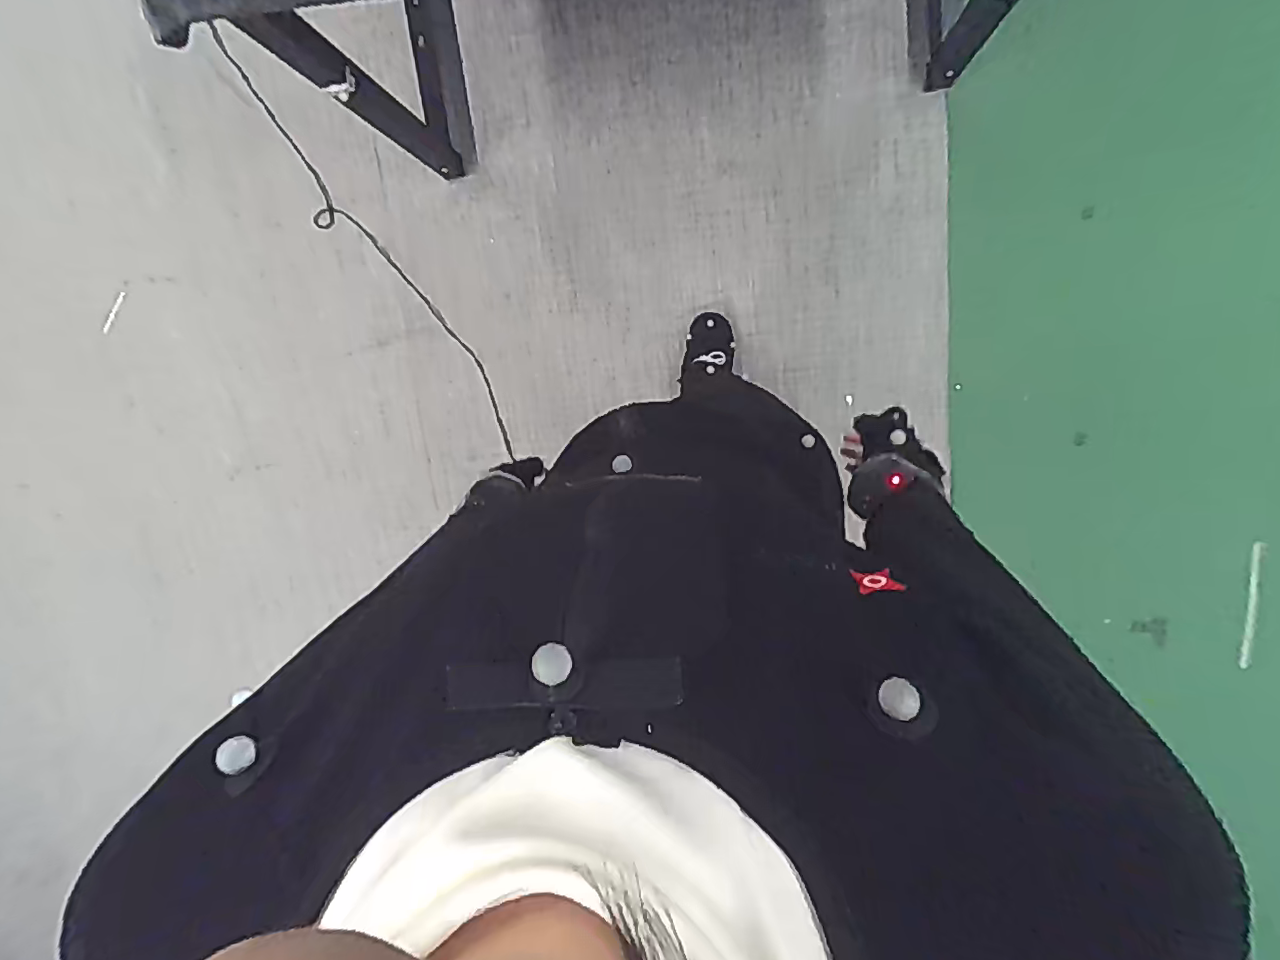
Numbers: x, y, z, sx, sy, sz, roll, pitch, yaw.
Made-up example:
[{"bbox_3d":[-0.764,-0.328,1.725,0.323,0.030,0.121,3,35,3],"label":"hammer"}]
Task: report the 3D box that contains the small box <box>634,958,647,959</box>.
[{"bbox_3d":[0.035,1.659,1.700,0.179,0.176,0.168,-3,101,10],"label":"small box"}]
